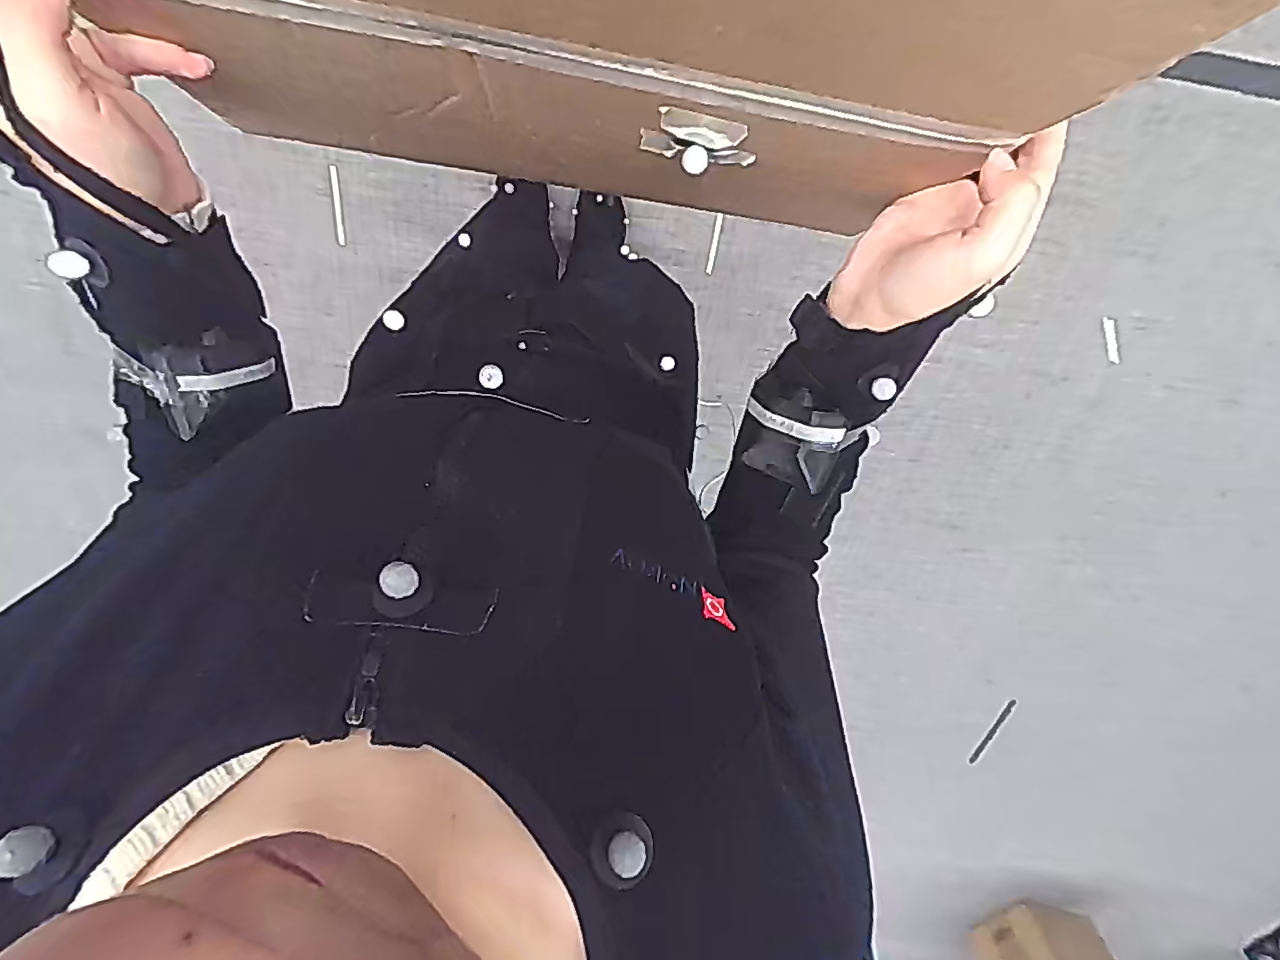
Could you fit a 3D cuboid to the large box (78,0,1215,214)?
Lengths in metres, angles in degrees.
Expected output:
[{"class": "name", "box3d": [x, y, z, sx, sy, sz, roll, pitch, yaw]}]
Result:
[{"class": "large box", "box3d": [-0.017, -0.325, 0.189, 0.408, 0.320, 0.320, 5, 102, -6]}]
